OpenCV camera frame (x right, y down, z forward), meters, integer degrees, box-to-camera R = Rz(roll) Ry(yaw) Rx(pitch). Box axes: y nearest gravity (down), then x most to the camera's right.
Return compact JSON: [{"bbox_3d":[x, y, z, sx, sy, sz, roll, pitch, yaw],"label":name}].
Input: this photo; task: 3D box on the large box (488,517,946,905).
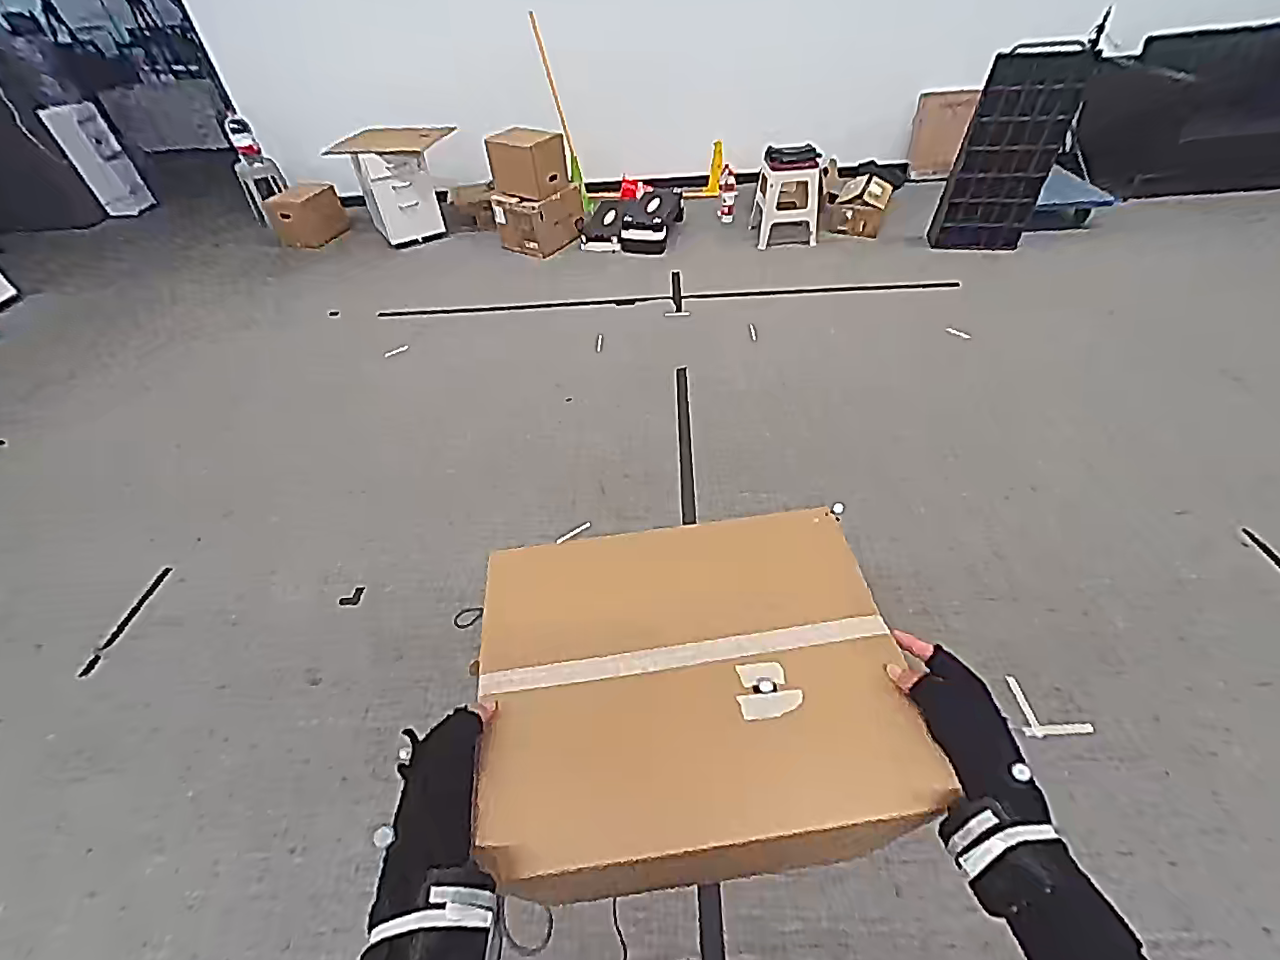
[{"bbox_3d":[0.055,0.282,0.660,0.408,0.320,0.320,-7,49,-3],"label":"large box"}]
